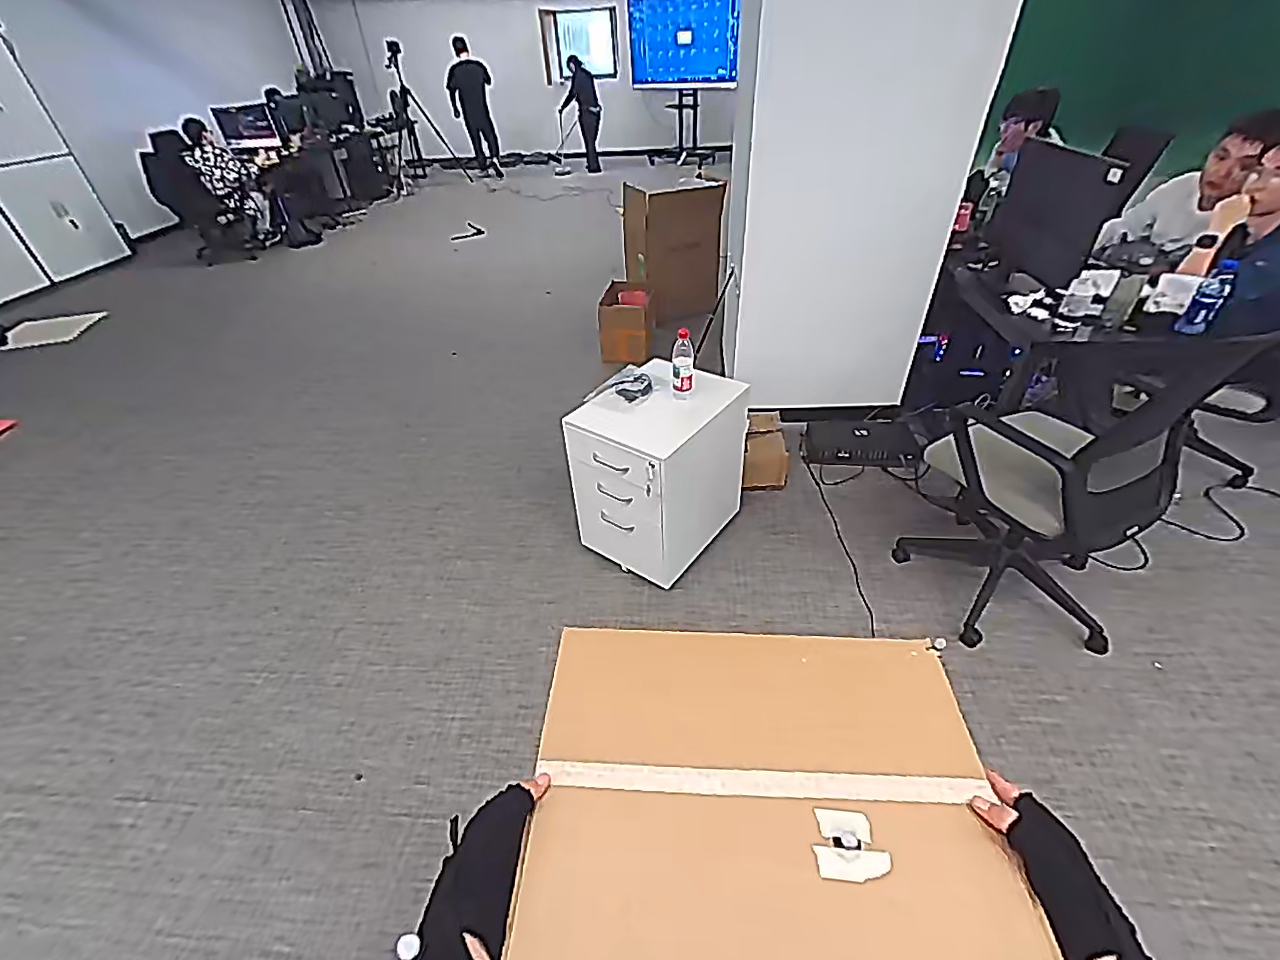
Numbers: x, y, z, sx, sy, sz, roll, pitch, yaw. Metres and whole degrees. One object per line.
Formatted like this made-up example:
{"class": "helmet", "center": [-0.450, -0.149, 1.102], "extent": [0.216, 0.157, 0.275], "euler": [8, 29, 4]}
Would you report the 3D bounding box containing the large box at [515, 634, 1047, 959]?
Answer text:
{"class": "large box", "center": [0.111, 0.392, 0.591], "extent": [0.408, 0.320, 0.320], "euler": [2, 41, 4]}
